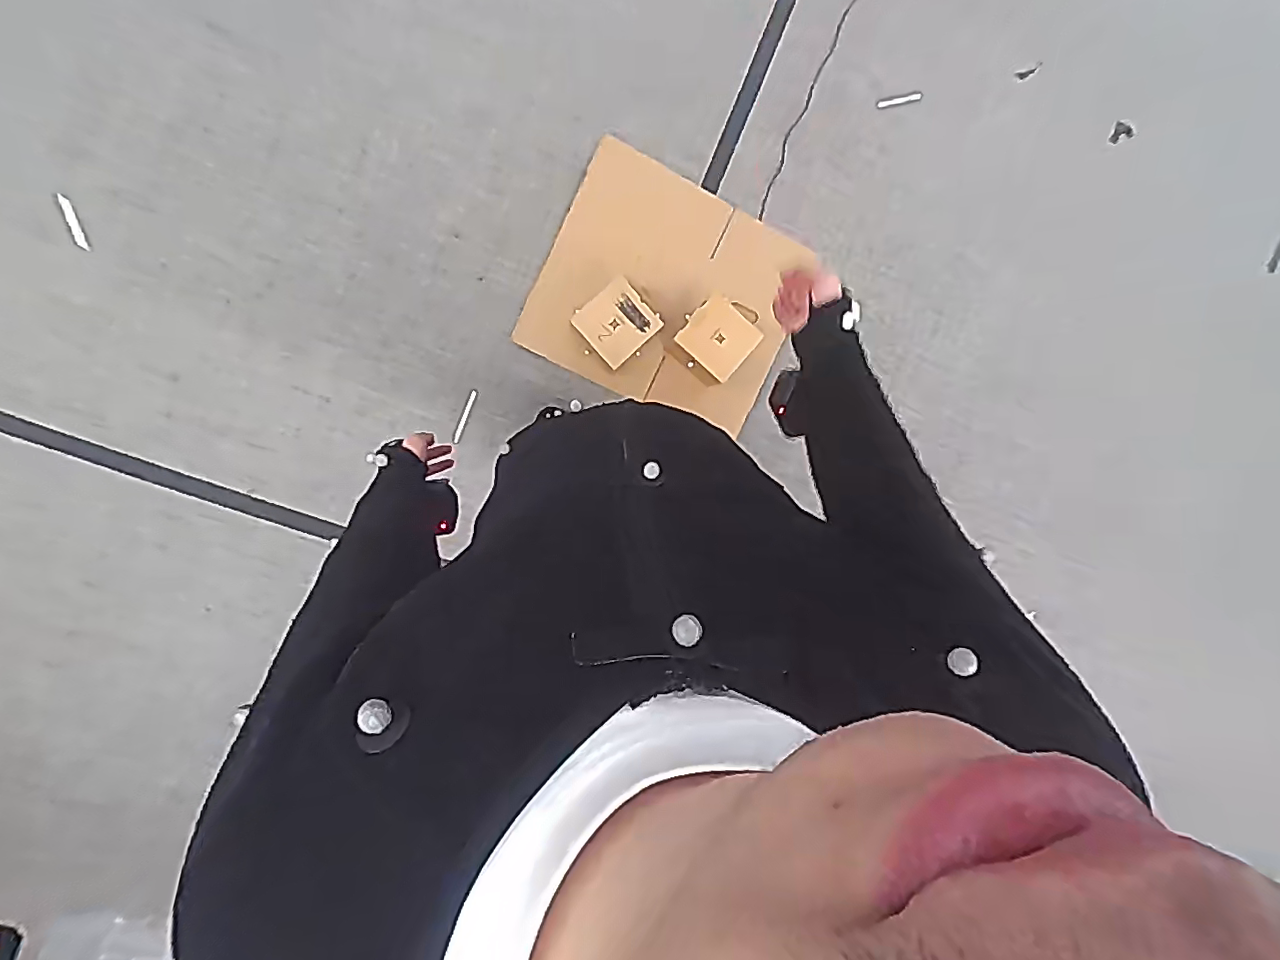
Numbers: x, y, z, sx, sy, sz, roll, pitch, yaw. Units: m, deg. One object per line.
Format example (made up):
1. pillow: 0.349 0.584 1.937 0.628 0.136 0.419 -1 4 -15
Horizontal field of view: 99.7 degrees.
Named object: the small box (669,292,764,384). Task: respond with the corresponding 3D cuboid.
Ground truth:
1. small box: 0.200 -0.376 1.473 0.179 0.176 0.168 40 91 -7
